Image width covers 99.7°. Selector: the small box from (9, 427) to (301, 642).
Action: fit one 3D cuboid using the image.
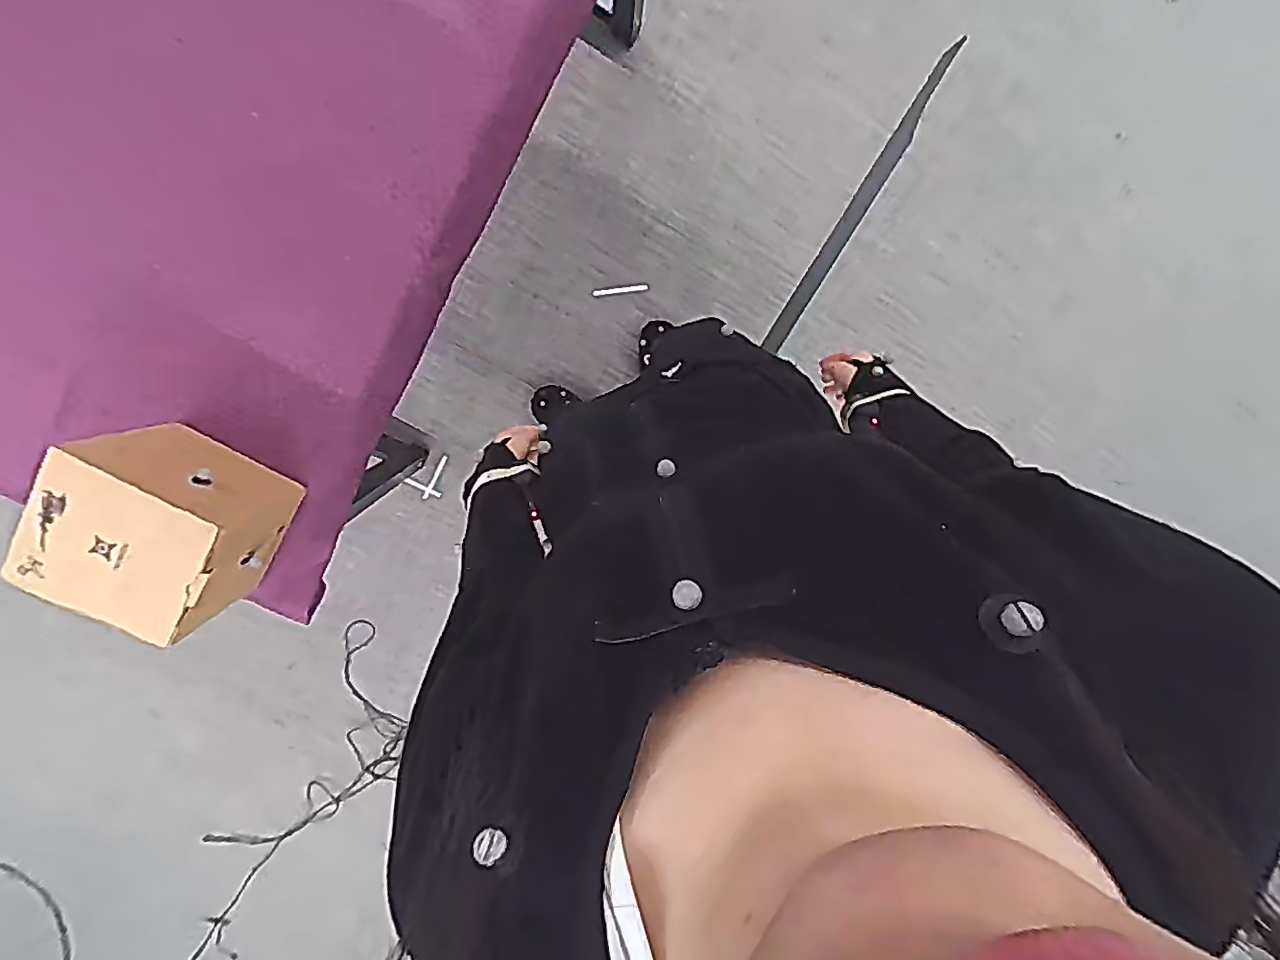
[{"bbox_3d":[-0.552,0.052,0.645,0.179,0.176,0.168,30,100,-11],"label":"small box"}]
